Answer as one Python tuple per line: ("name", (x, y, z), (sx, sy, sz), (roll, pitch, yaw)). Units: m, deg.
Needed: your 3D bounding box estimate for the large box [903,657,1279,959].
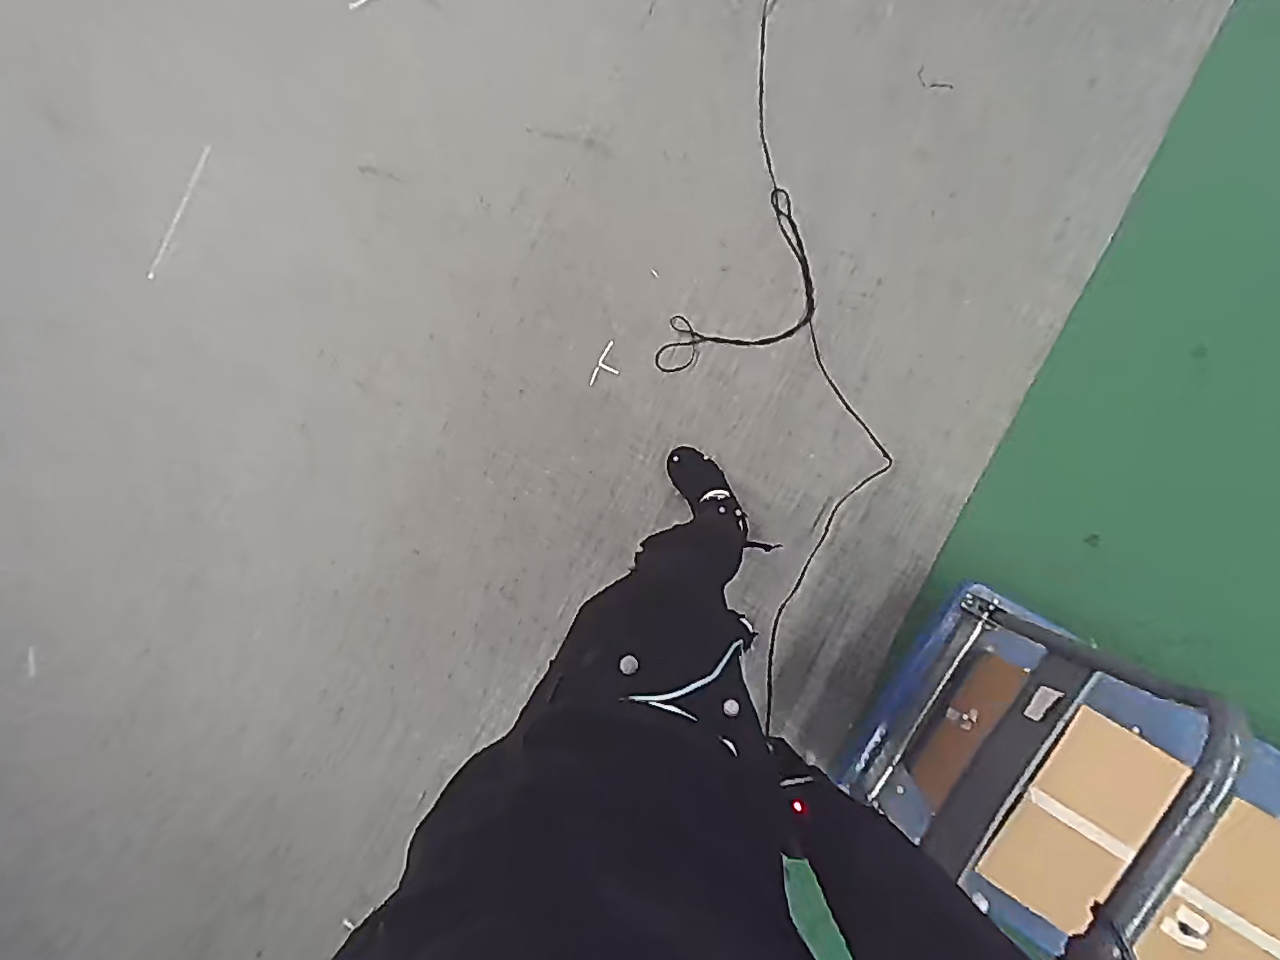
("large box", (0.770, 0.583, 0.957), (0.408, 0.320, 0.320), (32, 93, 9))
